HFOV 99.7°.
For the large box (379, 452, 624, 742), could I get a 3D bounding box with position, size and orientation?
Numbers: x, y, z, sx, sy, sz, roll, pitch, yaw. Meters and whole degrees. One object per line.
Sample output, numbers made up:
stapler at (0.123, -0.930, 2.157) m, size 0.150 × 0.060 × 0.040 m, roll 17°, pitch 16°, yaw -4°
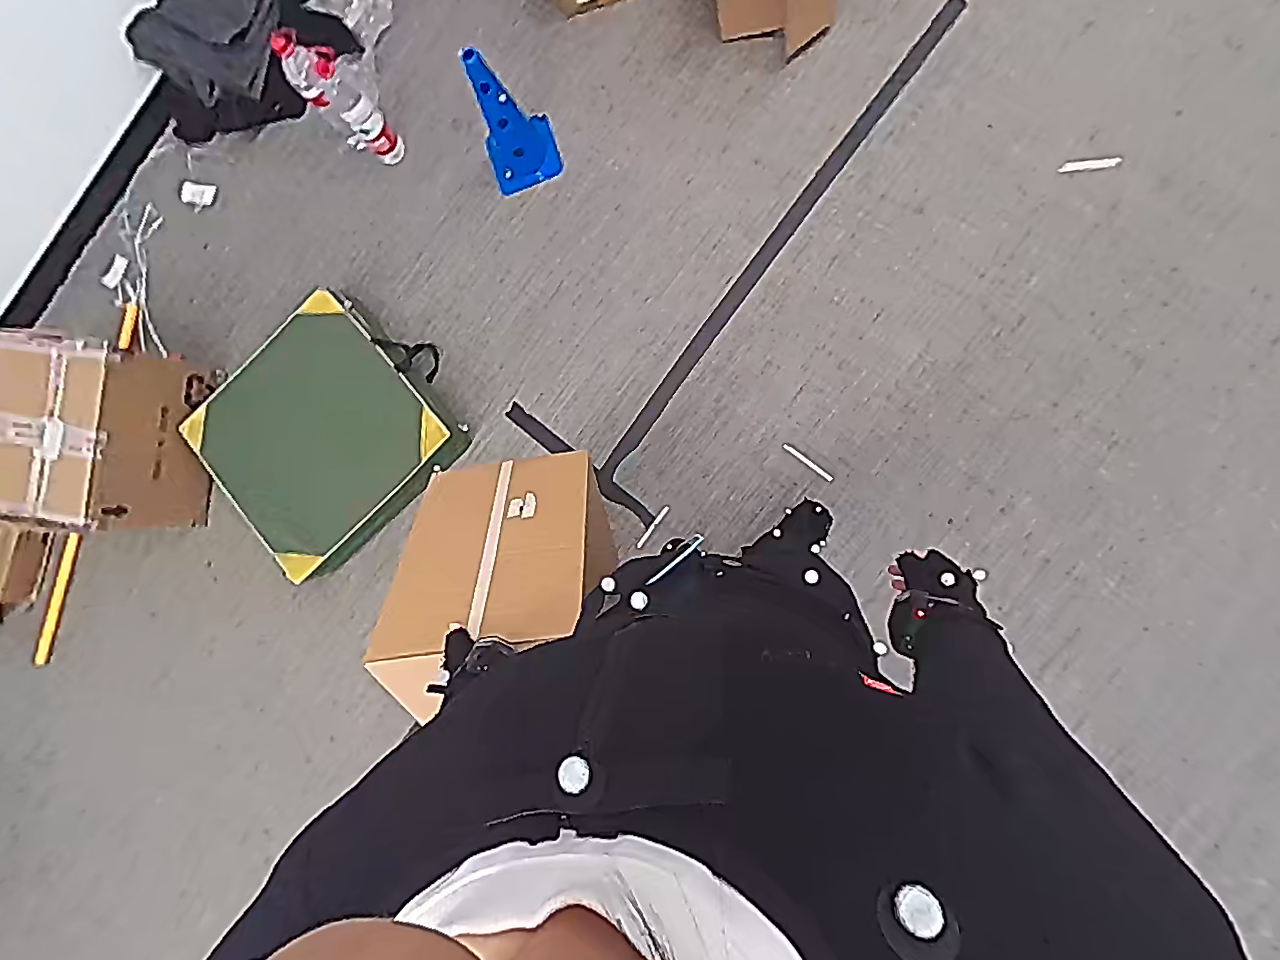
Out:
large box at (-0.209, 0.207, 0.999) m, size 0.320 × 0.320 × 0.408 m, roll -7°, pitch 41°, yaw 4°
